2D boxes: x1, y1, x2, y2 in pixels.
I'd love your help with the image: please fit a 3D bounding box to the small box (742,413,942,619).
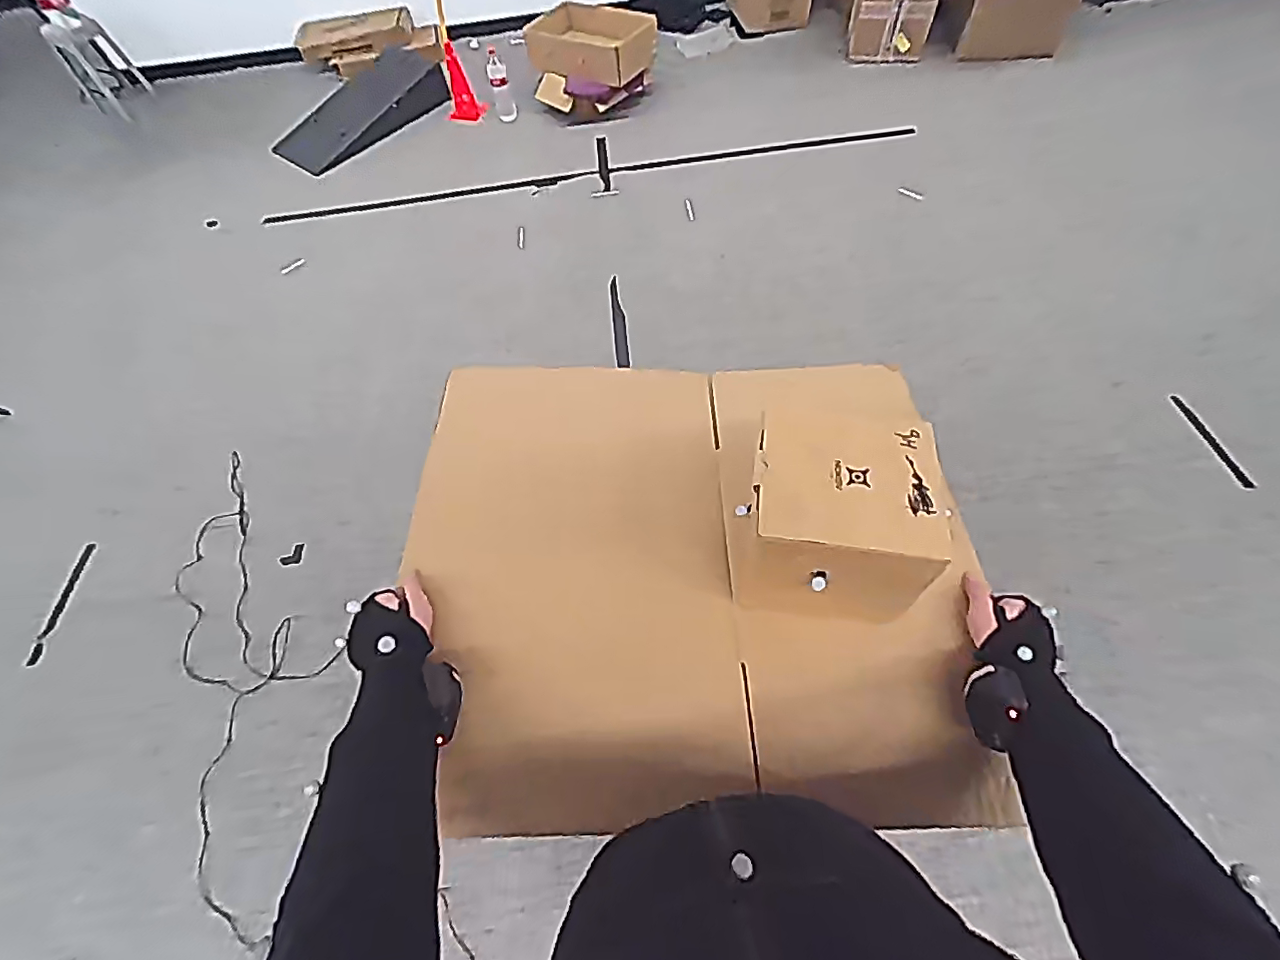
[{"bbox_3d":[0.212,0.045,0.613,0.179,0.176,0.168,6,57,9],"label":"small box"}]
